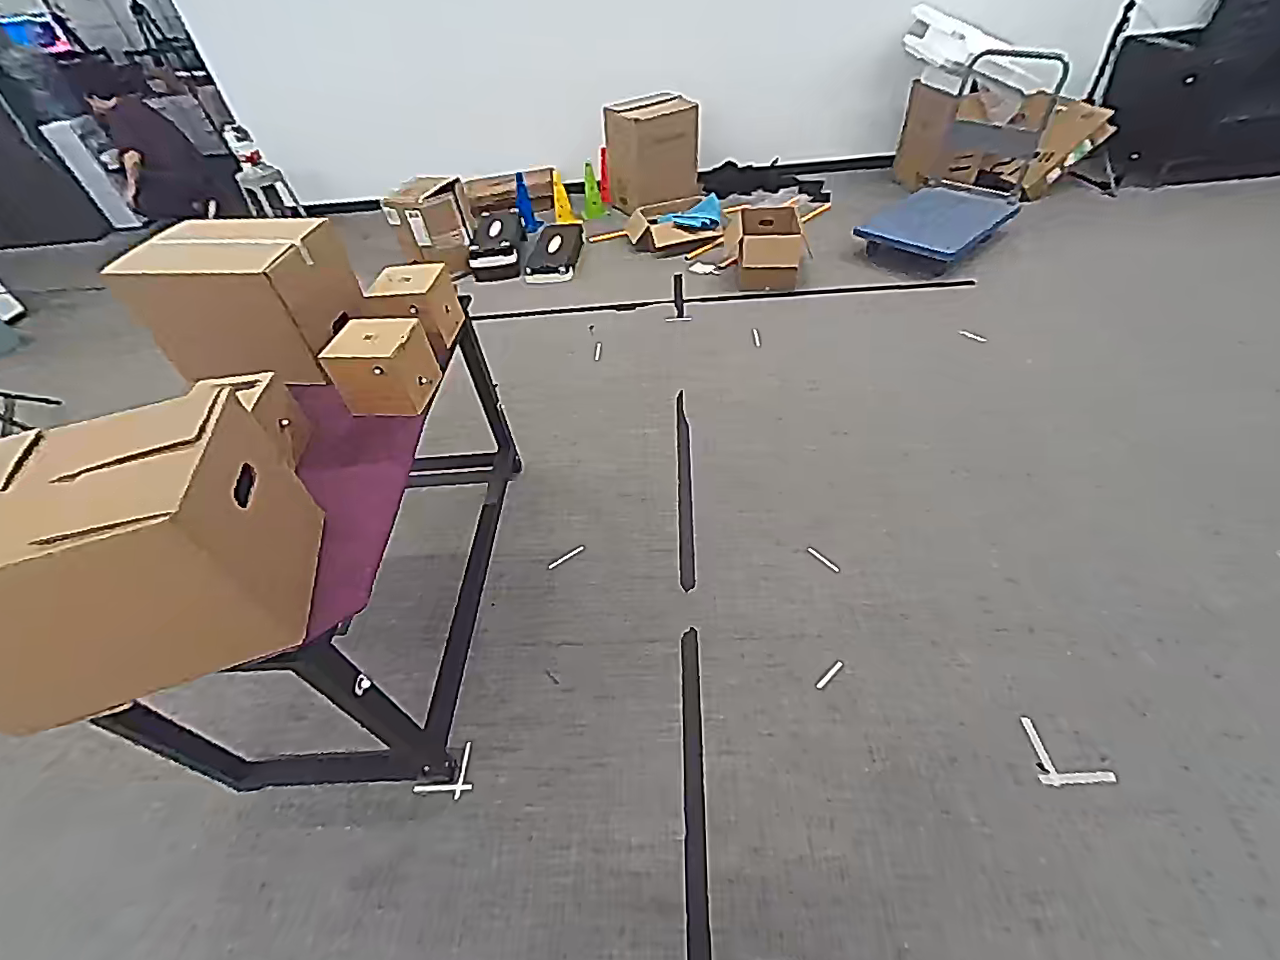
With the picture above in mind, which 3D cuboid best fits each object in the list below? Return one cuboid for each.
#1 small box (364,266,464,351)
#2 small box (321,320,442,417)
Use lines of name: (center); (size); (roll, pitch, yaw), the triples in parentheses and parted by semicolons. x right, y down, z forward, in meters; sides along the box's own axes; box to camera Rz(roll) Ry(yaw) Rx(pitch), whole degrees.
small box: (-0.606, -0.464, 1.480); (0.179, 0.176, 0.168); (-2, 46, 7)
small box: (-0.605, -0.265, 1.289); (0.179, 0.176, 0.168); (1, 46, 7)
